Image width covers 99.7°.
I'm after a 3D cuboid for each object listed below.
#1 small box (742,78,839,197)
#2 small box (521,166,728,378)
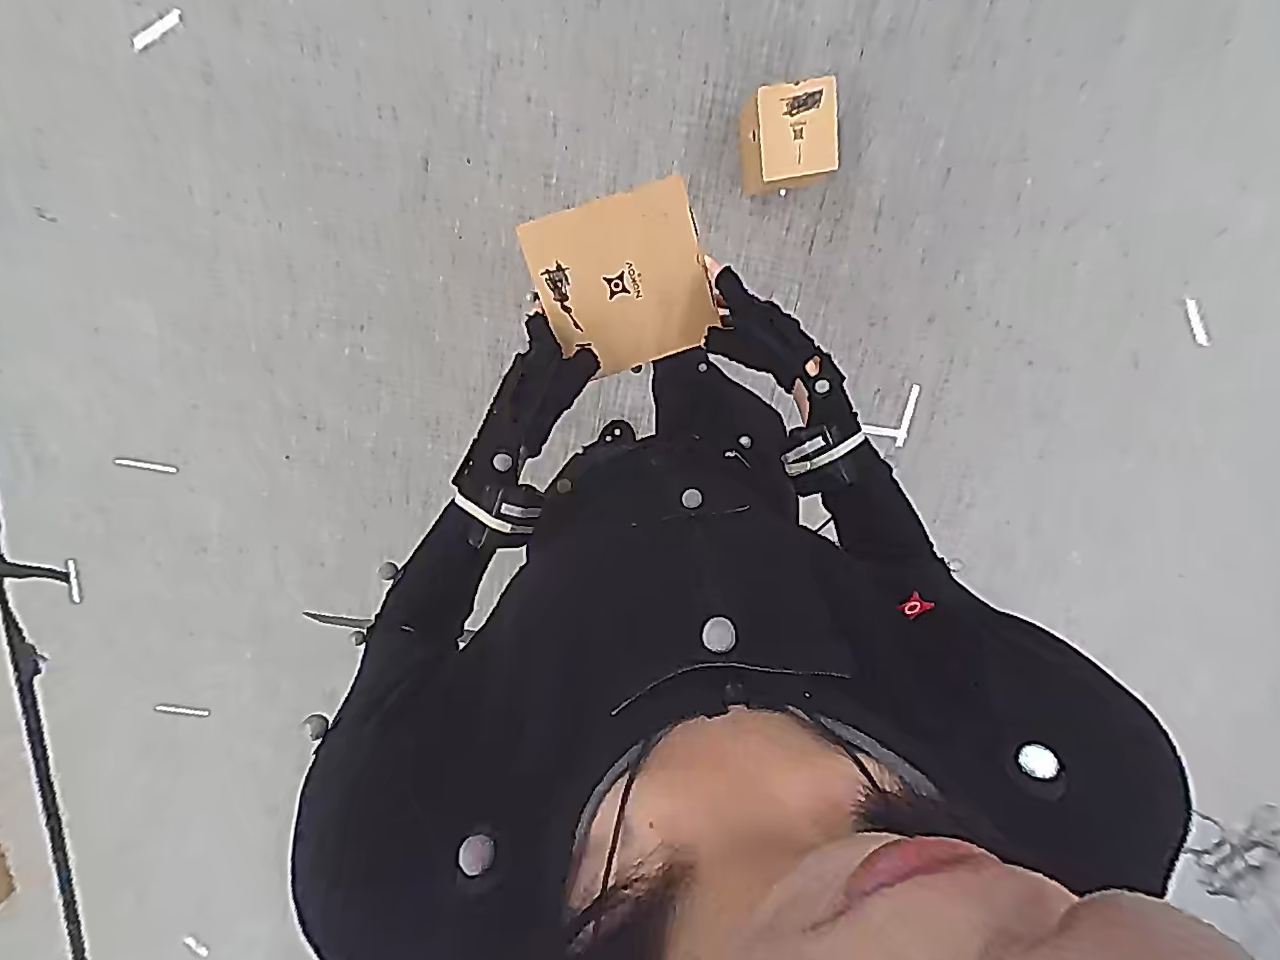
[{"bbox_3d":[0.330,-0.751,1.202,0.168,0.176,0.179,-9,109,1],"label":"small box"},{"bbox_3d":[-0.024,-0.225,0.617,0.179,0.176,0.168,-20,105,-4],"label":"small box"}]
